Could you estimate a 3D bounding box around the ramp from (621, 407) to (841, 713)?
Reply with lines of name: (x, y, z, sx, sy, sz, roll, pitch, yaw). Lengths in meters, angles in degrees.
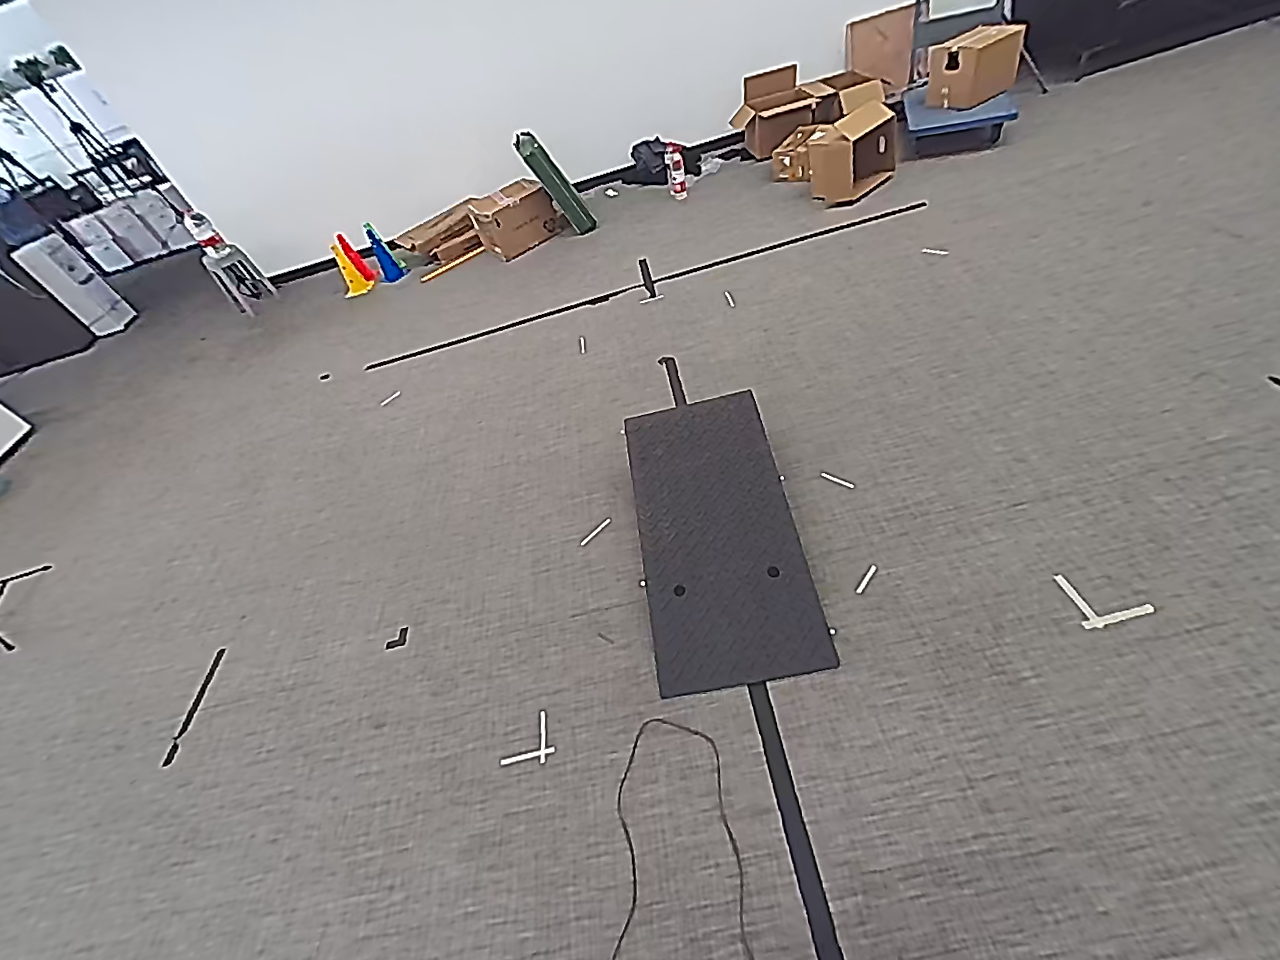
ramp: (0.237, 0.187, 1.749, 0.509, 0.206, 0.991, -15, 44, 4)
